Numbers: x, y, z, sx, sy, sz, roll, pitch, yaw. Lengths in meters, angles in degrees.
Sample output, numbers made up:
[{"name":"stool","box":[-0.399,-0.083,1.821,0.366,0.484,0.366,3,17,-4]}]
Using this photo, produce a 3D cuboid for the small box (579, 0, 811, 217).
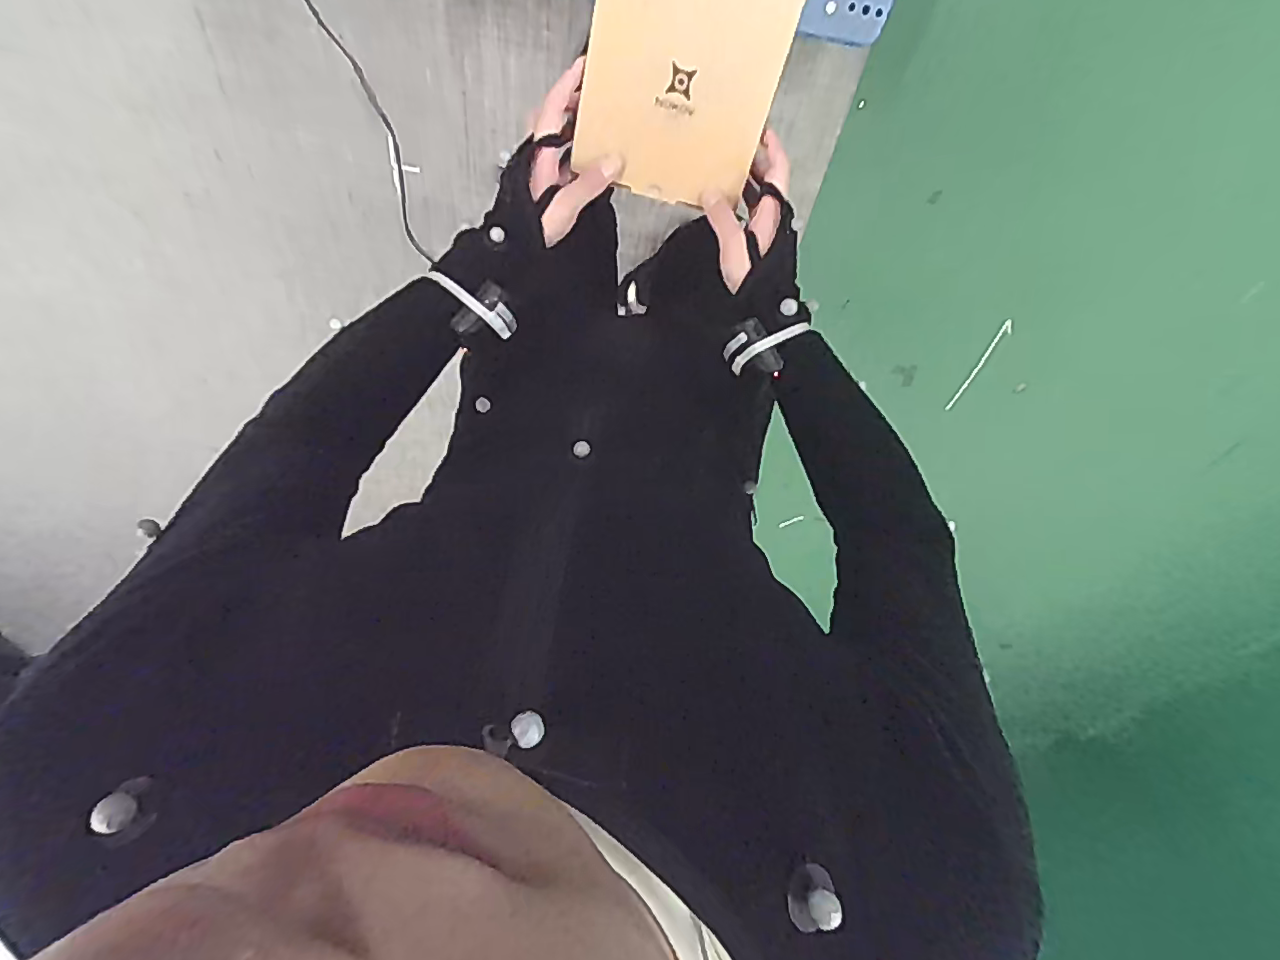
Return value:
[{"name":"small box","box":[0.040,-0.389,0.536,0.168,0.176,0.179,12,125,-9]}]
